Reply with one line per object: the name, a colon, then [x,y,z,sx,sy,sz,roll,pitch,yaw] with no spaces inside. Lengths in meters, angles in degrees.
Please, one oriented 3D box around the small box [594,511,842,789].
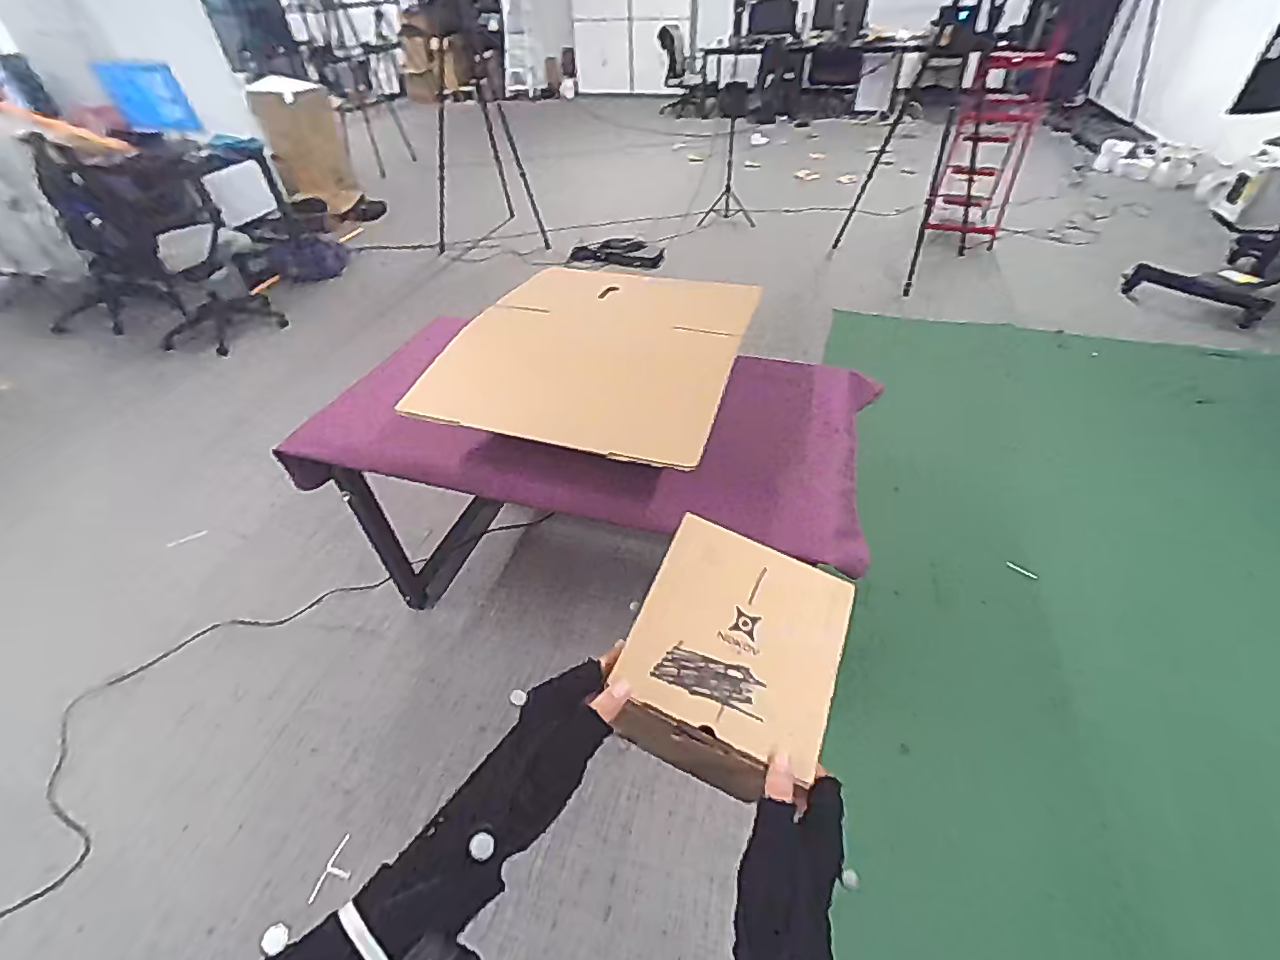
small box: [0.065,0.167,0.514,0.168,0.176,0.179,23,55,8]
